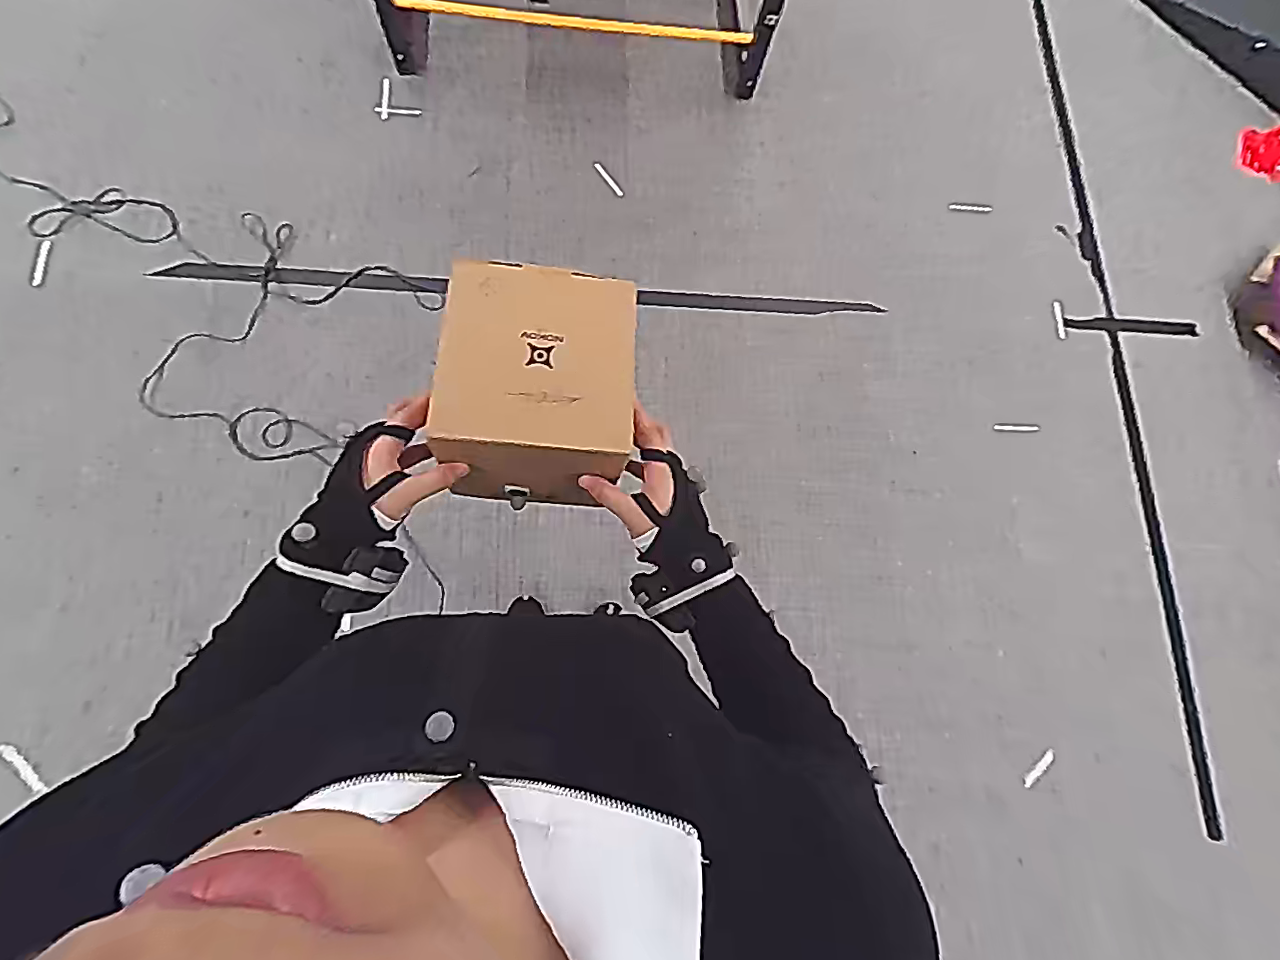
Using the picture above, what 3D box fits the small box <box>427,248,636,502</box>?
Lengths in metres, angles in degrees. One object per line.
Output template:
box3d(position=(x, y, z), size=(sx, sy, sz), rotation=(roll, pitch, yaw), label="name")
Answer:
box3d(position=(-0.101, -0.090, 0.535), size=(0.168, 0.176, 0.179), rotation=(5, 71, -10), label="small box")
